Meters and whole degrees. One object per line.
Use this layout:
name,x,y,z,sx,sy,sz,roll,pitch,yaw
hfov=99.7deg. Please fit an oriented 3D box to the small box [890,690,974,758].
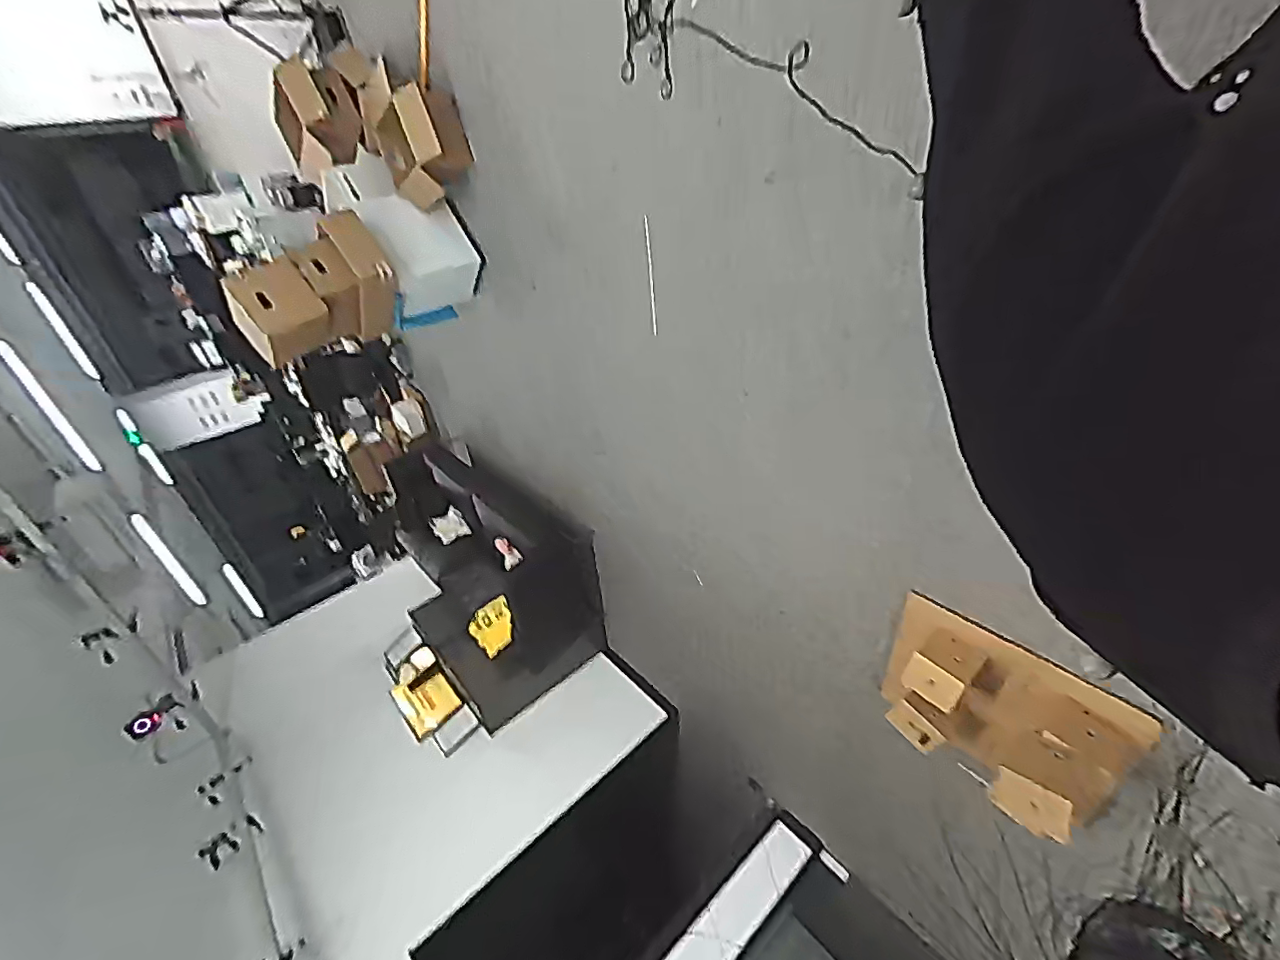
small box,1.046,0.846,1.932,0.179,0.176,0.168,44,146,29

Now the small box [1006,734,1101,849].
small box,1.137,0.850,1.488,0.168,0.176,0.179,17,128,49

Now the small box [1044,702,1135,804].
small box,1.272,0.780,1.552,0.168,0.176,0.179,35,141,37

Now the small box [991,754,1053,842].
small box,1.275,0.995,1.726,0.179,0.176,0.168,35,141,35

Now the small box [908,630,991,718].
small box,1.027,0.634,1.789,0.168,0.176,0.179,34,141,38
